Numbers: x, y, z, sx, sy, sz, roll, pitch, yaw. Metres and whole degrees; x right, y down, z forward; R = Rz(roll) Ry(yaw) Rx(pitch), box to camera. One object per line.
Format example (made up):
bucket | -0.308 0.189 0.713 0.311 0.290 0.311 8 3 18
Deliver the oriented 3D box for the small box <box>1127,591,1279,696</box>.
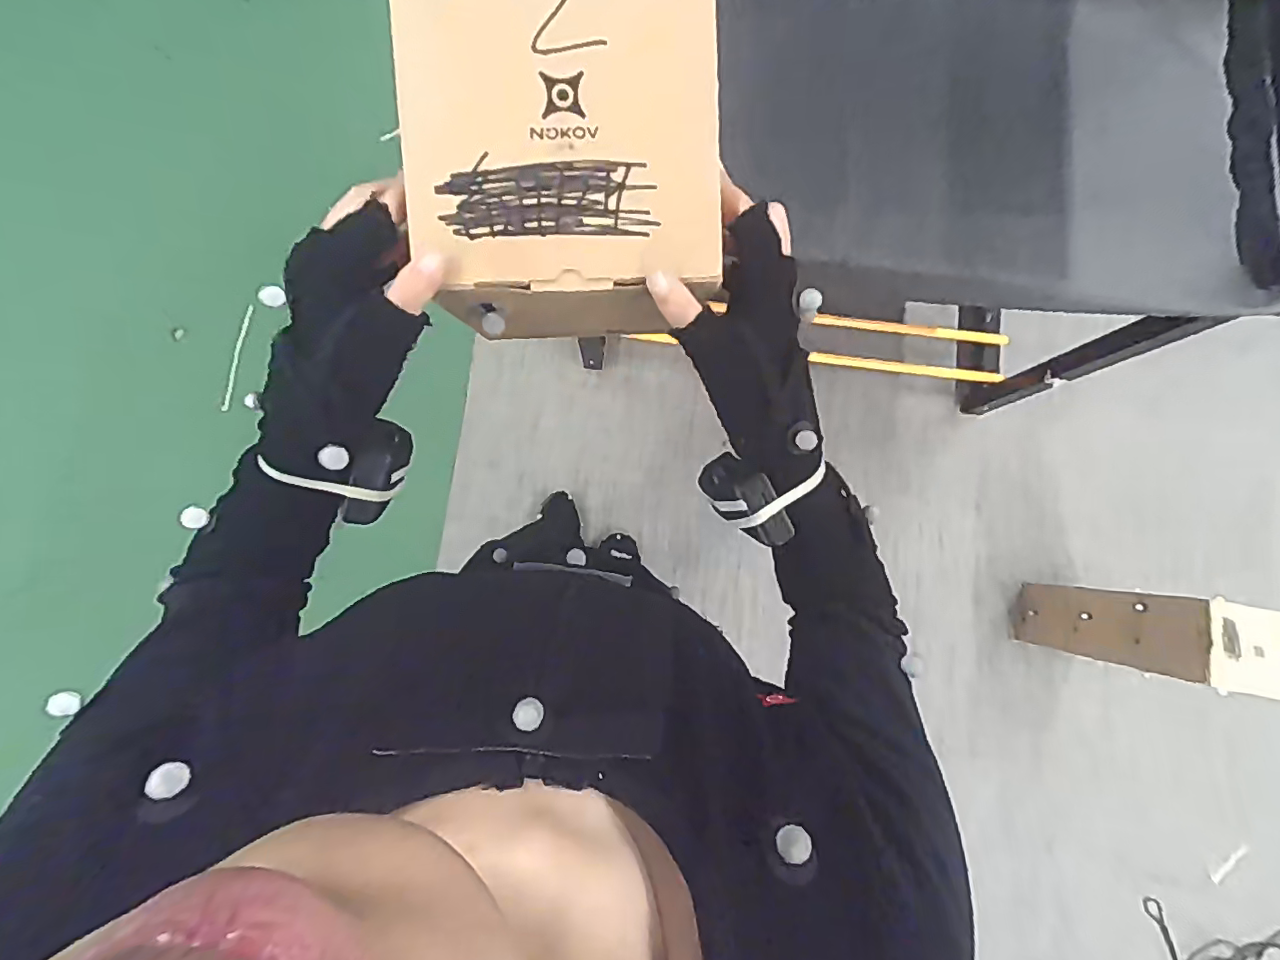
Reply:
small box | 1.156 0.326 1.108 0.179 0.176 0.168 10 83 -1

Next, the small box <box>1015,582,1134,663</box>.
small box | 1.145 0.369 1.432 0.179 0.176 0.168 12 82 0
